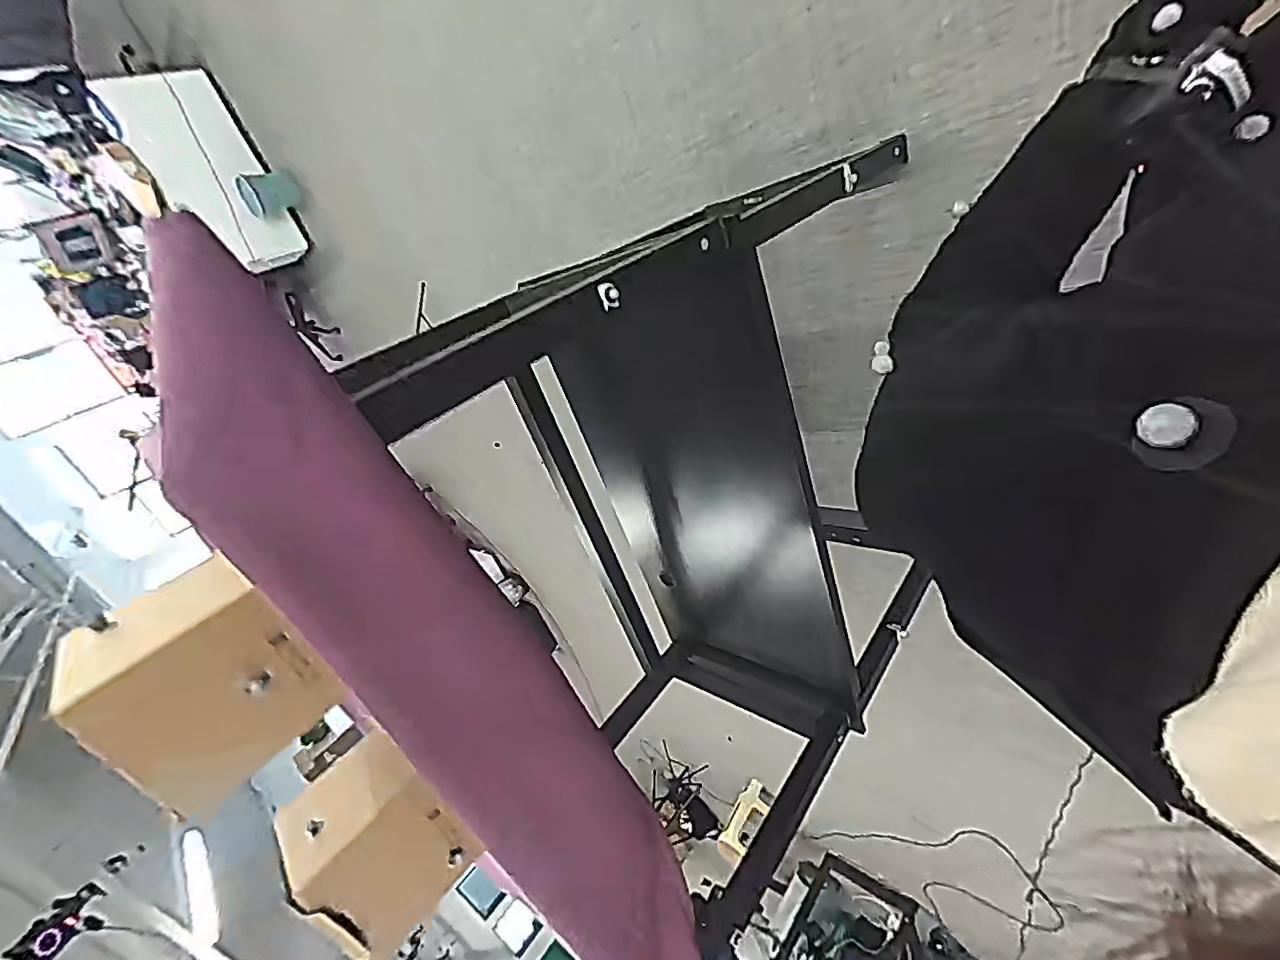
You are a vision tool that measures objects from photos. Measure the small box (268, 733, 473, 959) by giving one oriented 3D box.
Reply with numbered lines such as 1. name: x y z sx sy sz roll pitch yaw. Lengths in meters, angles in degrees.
1. small box: -0.353 0.479 0.727 0.179 0.176 0.168 2 124 50

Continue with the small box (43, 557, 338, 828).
1. small box: -0.457 0.205 0.571 0.179 0.176 0.168 11 132 44
